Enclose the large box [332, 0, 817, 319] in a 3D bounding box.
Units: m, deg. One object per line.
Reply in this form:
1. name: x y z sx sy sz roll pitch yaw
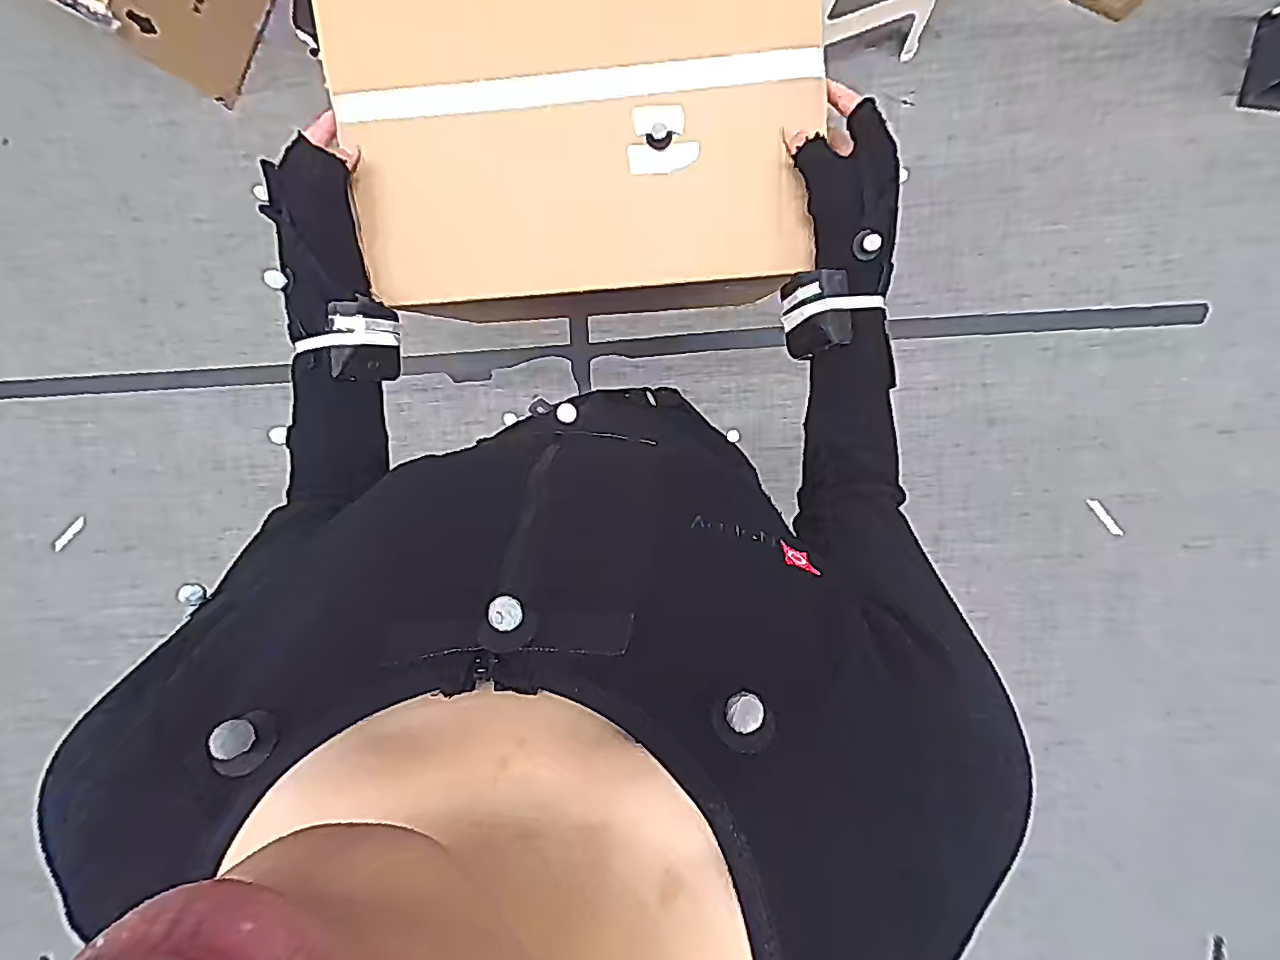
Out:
1. large box: -0.051 -0.365 0.603 0.408 0.320 0.320 -4 103 1
